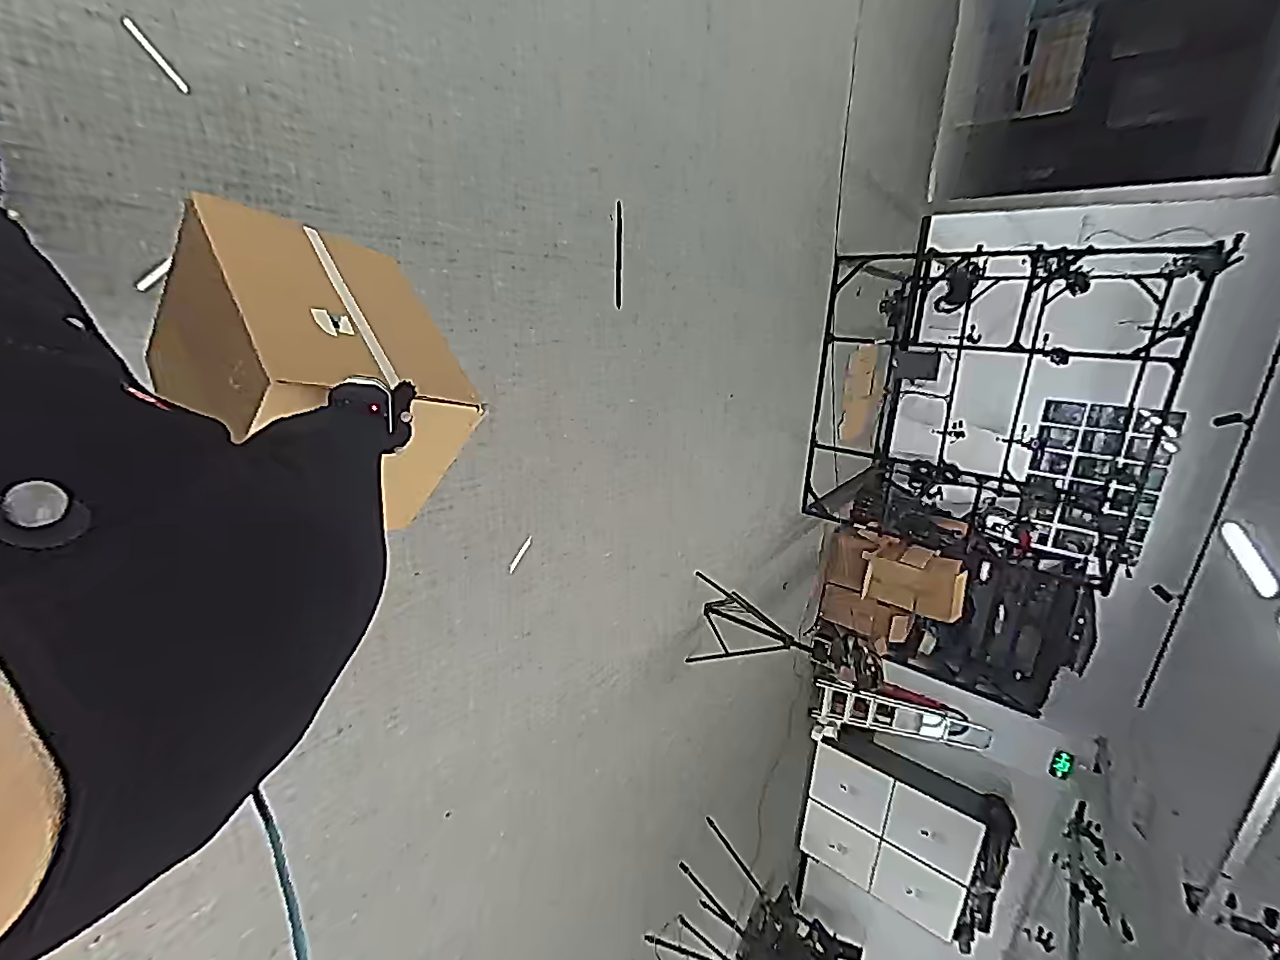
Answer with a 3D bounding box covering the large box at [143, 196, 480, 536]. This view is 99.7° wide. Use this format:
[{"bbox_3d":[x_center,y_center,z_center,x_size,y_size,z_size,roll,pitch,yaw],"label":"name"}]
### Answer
[{"bbox_3d":[-0.548,-0.166,0.896,0.320,0.408,0.320,-46,157,26],"label":"large box"}]
